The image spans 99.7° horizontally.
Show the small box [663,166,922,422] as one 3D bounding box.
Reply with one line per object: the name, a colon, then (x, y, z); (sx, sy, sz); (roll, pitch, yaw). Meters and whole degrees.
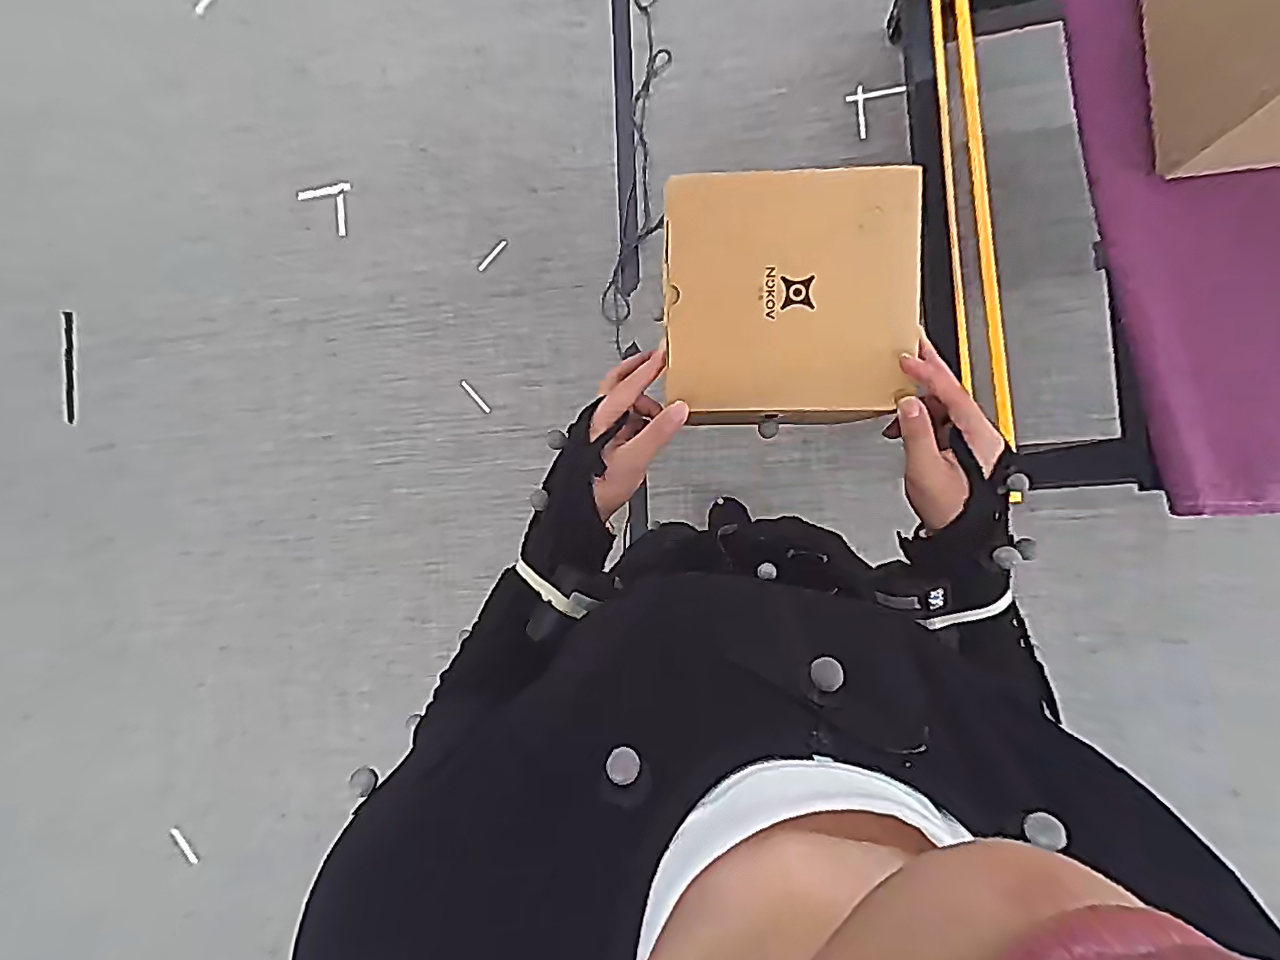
small box: (0.108, -0.137, 0.454); (0.179, 0.176, 0.168); (0, 93, 4)
